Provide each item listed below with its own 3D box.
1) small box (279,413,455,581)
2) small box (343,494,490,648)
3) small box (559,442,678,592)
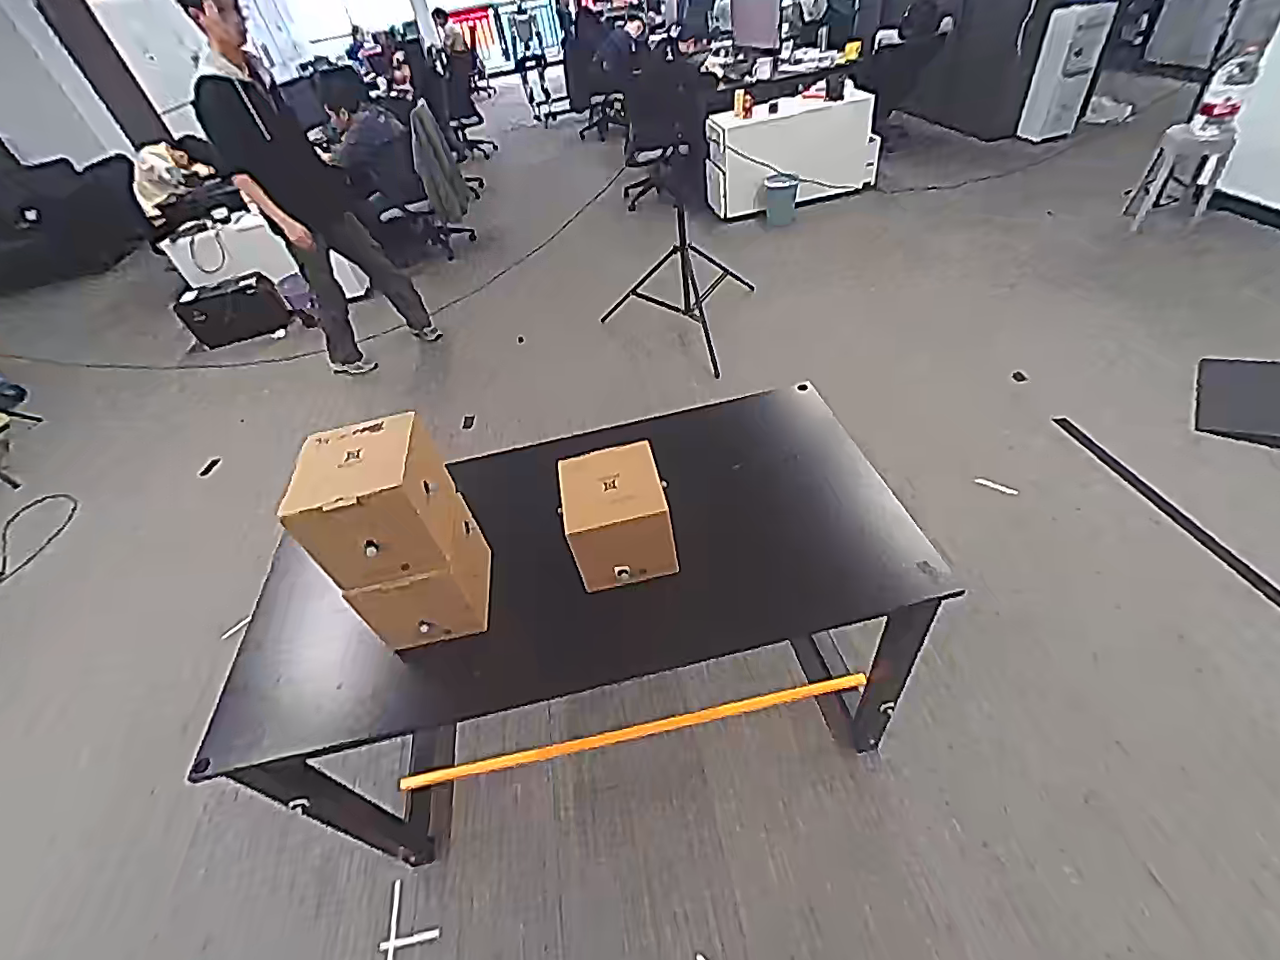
[{"bbox_3d":[-0.388,0.032,0.808,0.168,0.176,0.179,-14,44,-3],"label":"small box"},{"bbox_3d":[-0.362,0.154,0.915,0.168,0.176,0.179,-12,44,-1],"label":"small box"},{"bbox_3d":[-0.038,0.065,0.945,0.168,0.176,0.179,-14,45,-1],"label":"small box"}]
